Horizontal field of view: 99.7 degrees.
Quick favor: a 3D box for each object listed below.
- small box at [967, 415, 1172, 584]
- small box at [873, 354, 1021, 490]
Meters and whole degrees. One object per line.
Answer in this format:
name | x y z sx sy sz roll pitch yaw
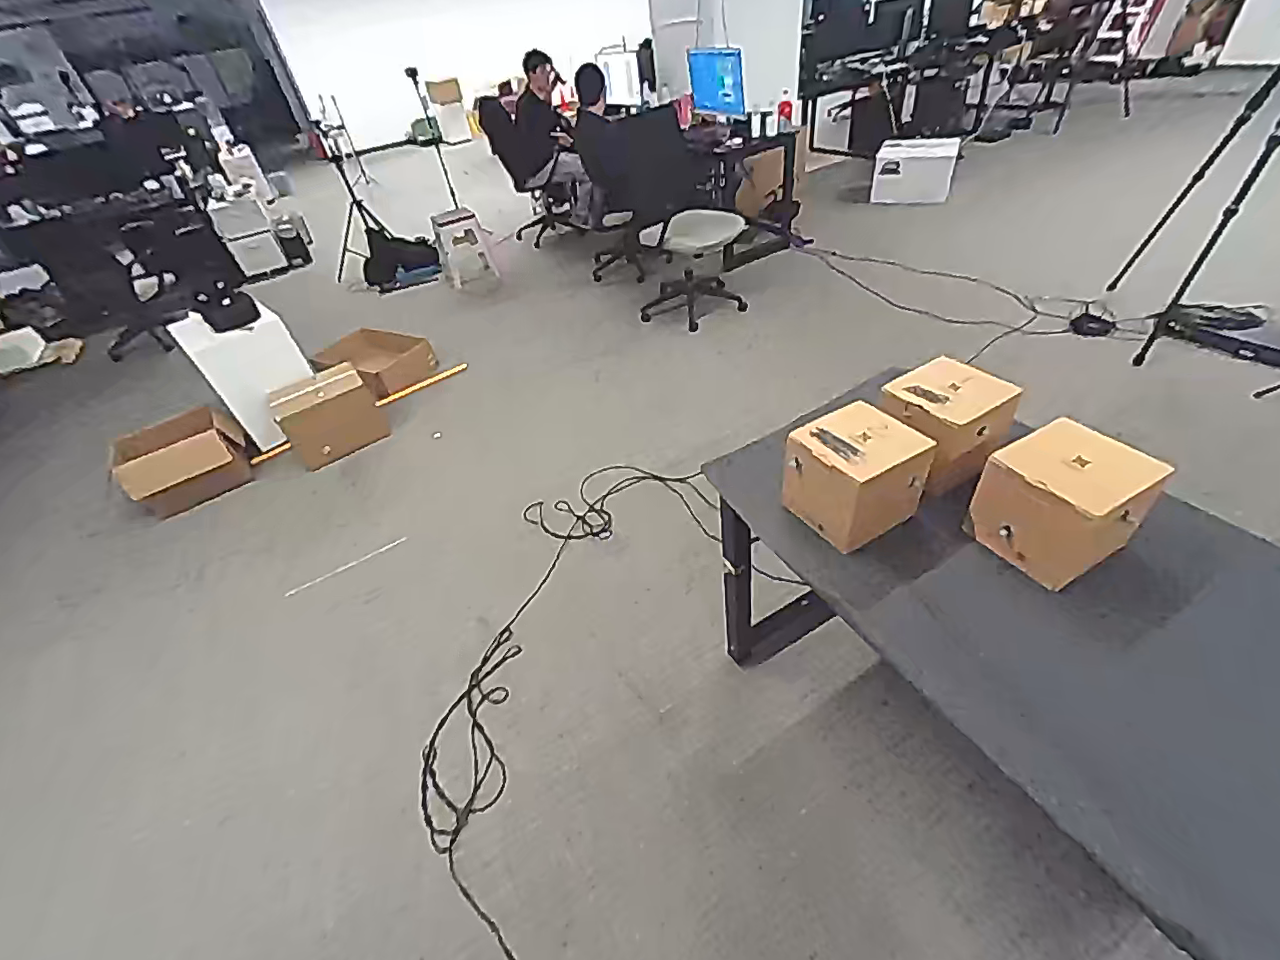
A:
small box | 0.665 0.031 0.864 0.179 0.176 0.168 -25 44 -15
small box | 0.572 -0.110 1.035 0.179 0.176 0.168 -26 44 -18
